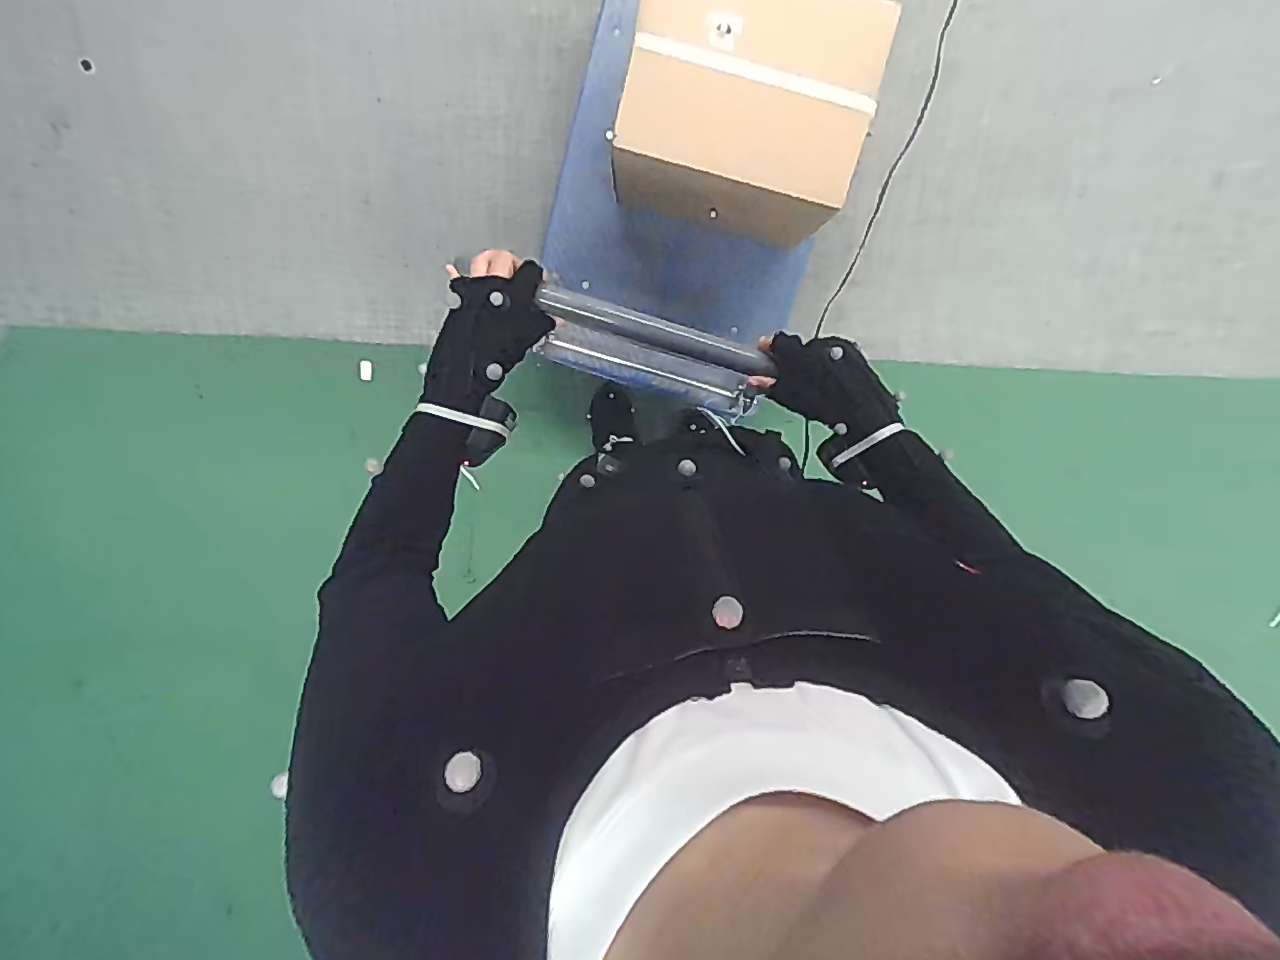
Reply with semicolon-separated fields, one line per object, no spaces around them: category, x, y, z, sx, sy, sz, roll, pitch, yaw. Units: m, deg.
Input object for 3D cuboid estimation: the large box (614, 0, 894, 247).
large box;0.184;-0.674;1.027;0.408;0.320;0.320;13;99;-2
